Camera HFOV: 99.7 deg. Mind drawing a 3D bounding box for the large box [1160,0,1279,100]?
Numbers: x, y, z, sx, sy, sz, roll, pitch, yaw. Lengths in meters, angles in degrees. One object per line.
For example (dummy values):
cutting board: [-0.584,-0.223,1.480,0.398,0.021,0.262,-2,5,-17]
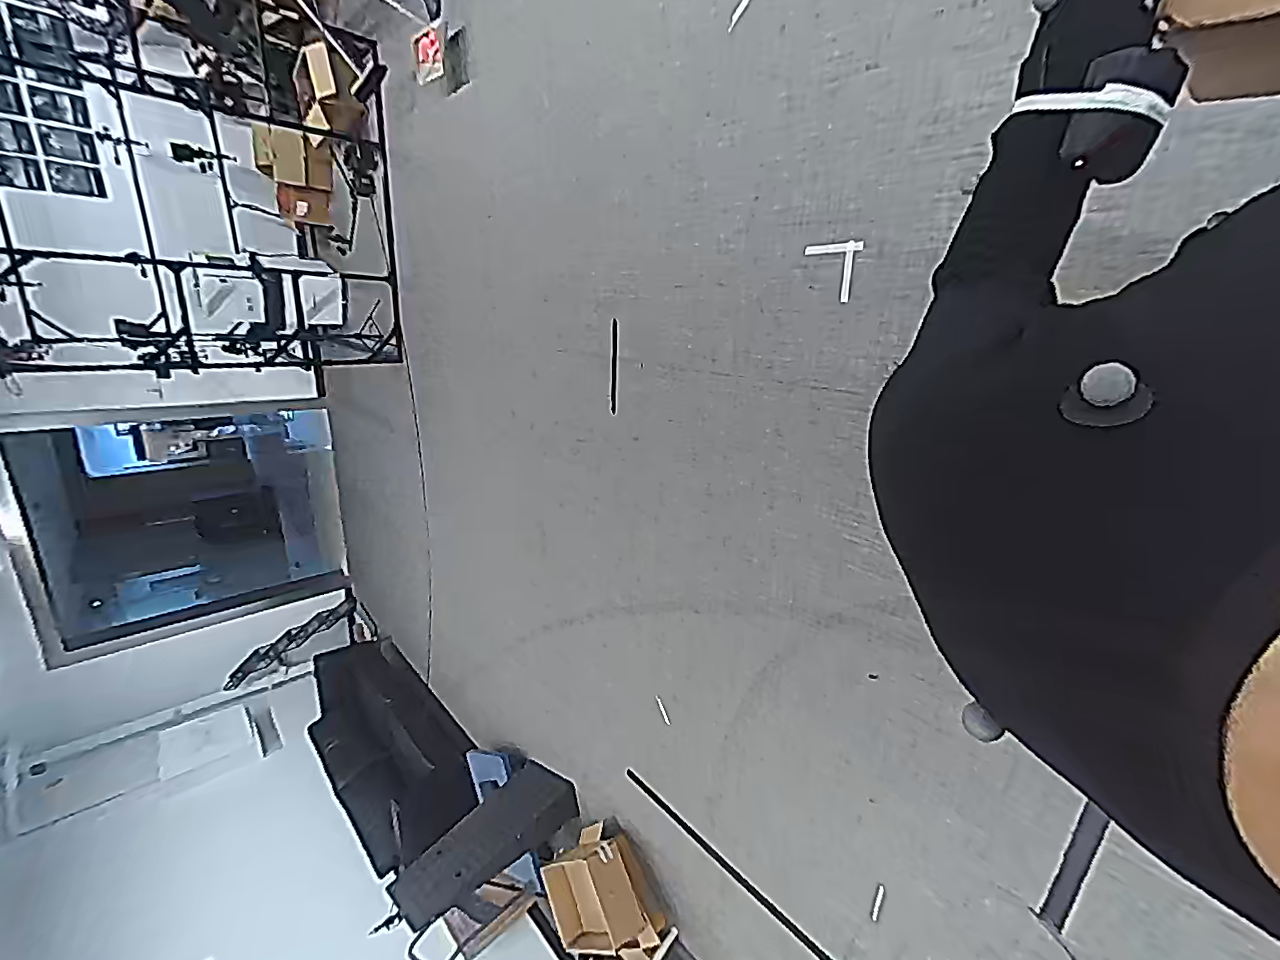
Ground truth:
large box: [0.587,-0.422,0.264,0.408,0.320,0.320,24,125,41]
